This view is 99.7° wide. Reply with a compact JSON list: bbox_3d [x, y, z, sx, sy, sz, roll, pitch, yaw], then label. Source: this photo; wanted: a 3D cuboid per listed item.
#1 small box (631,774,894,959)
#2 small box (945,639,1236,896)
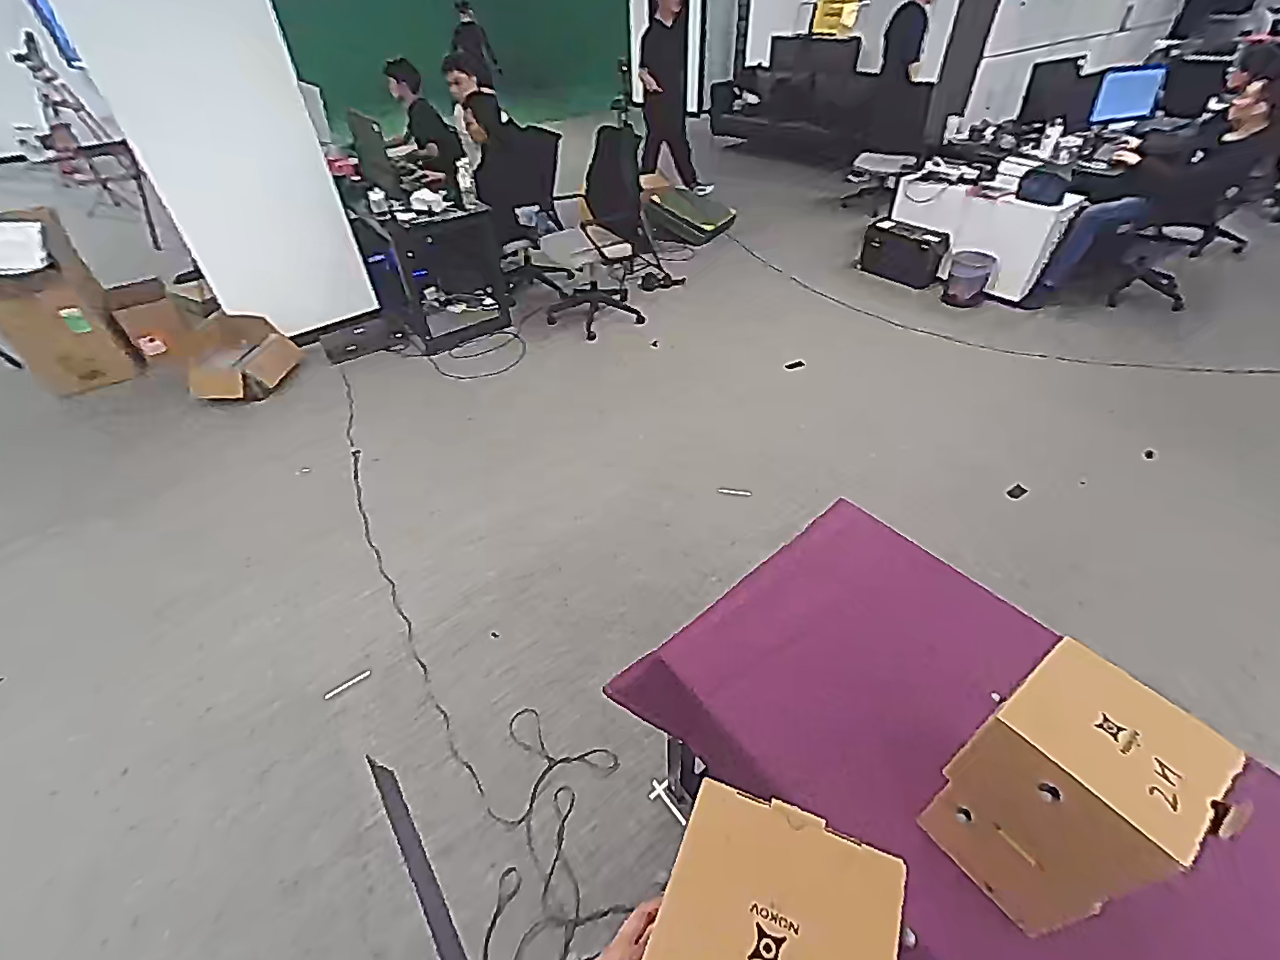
[{"bbox_3d":[0.099,0.391,0.447,0.168,0.176,0.179,12,45,23],"label":"small box"},{"bbox_3d":[0.496,0.328,0.624,0.168,0.176,0.179,-27,48,-25],"label":"small box"}]
